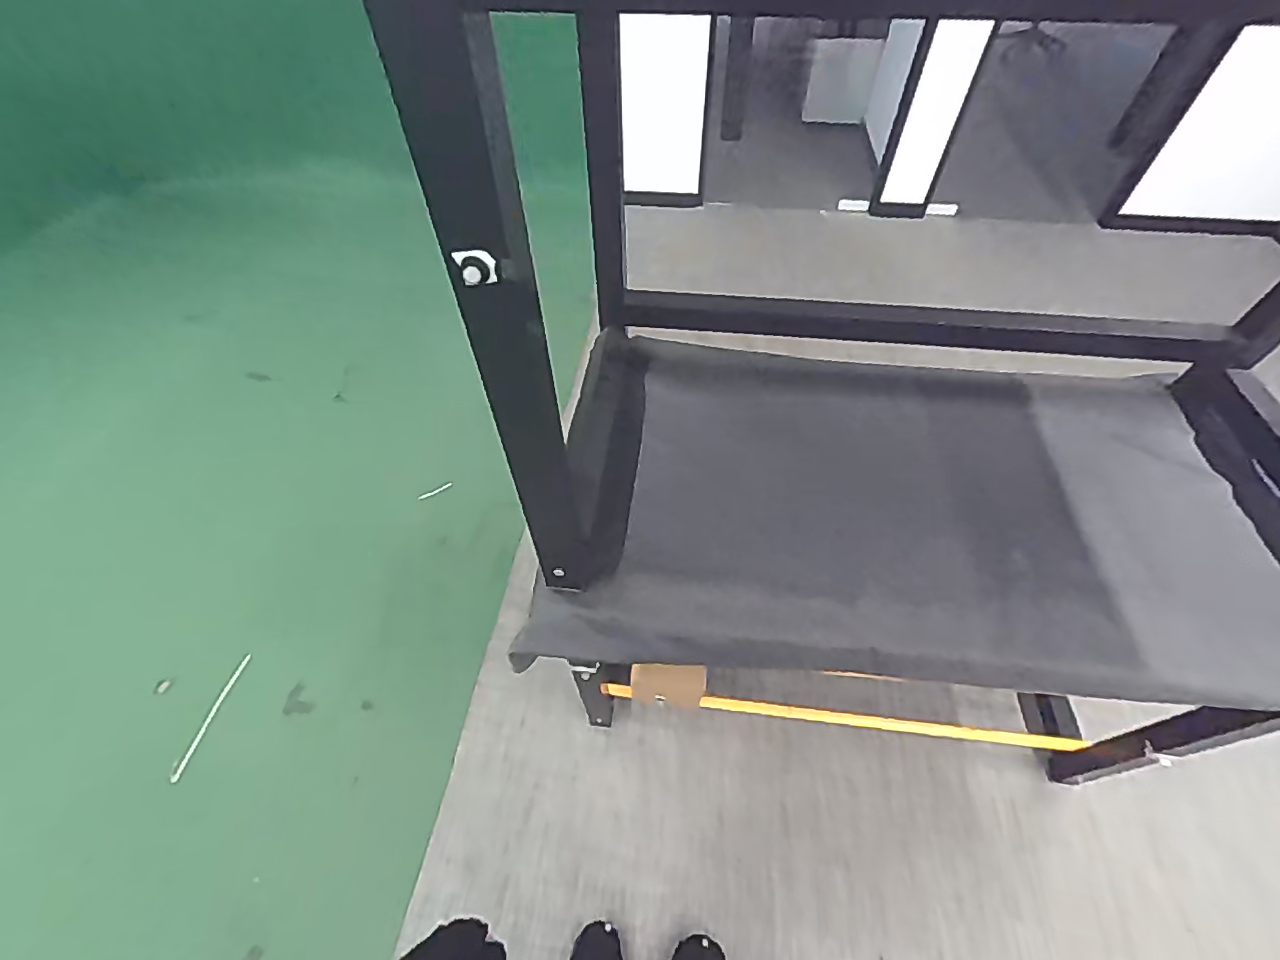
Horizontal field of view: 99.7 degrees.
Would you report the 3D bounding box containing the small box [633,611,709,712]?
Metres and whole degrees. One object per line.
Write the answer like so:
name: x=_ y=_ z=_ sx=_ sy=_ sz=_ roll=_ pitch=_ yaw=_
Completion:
small box: x=0.072 y=0.434 z=1.291 sx=0.168 sy=0.176 sz=0.179 roll=5 pitch=54 yaw=4
